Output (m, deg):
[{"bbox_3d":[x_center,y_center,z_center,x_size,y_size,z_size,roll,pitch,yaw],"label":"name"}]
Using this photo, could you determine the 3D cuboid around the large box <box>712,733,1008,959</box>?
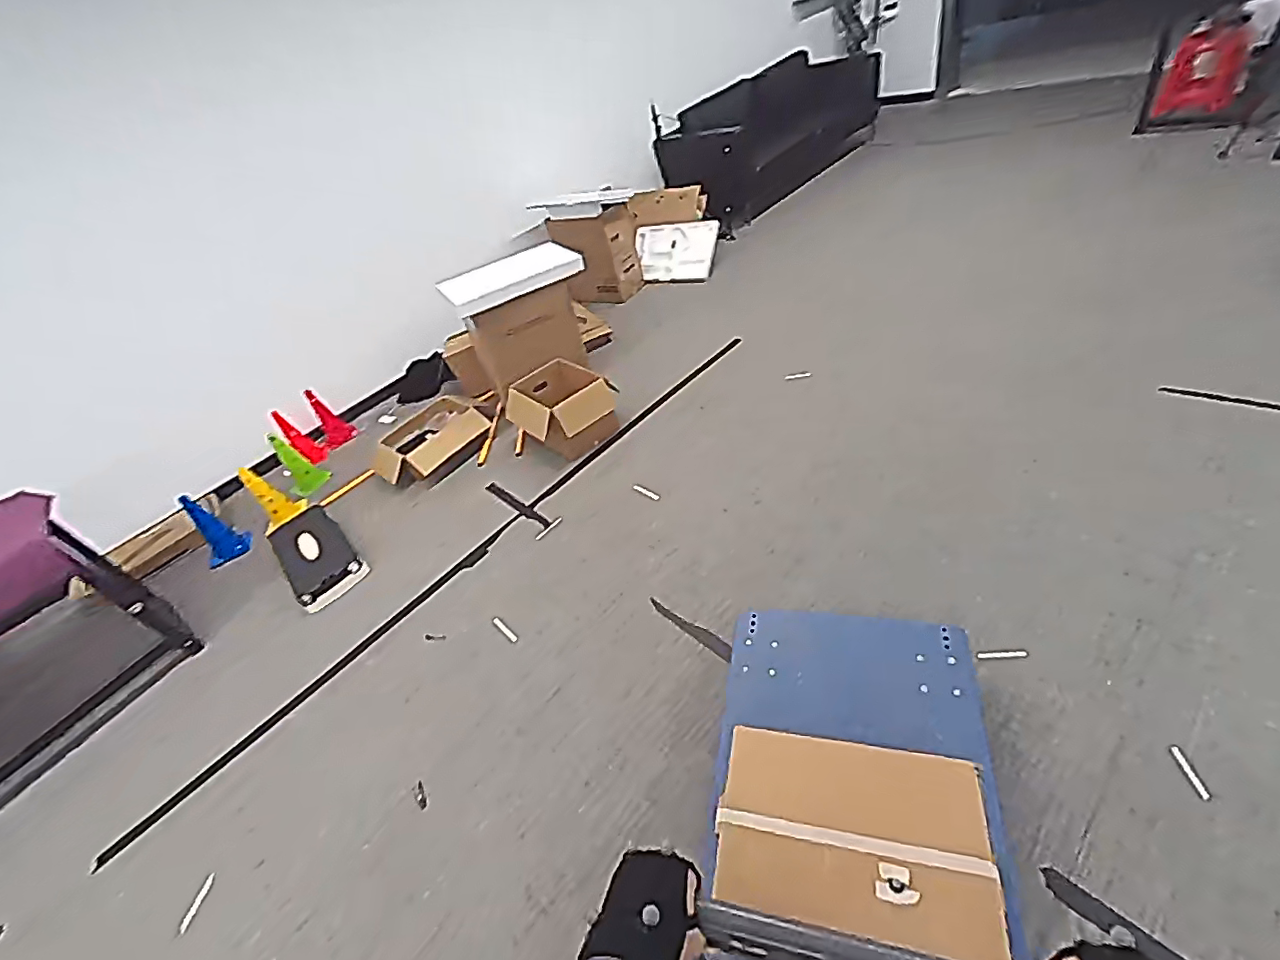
[{"bbox_3d":[0.360,0.690,0.949,0.408,0.320,0.320,0,43,19],"label":"large box"}]
